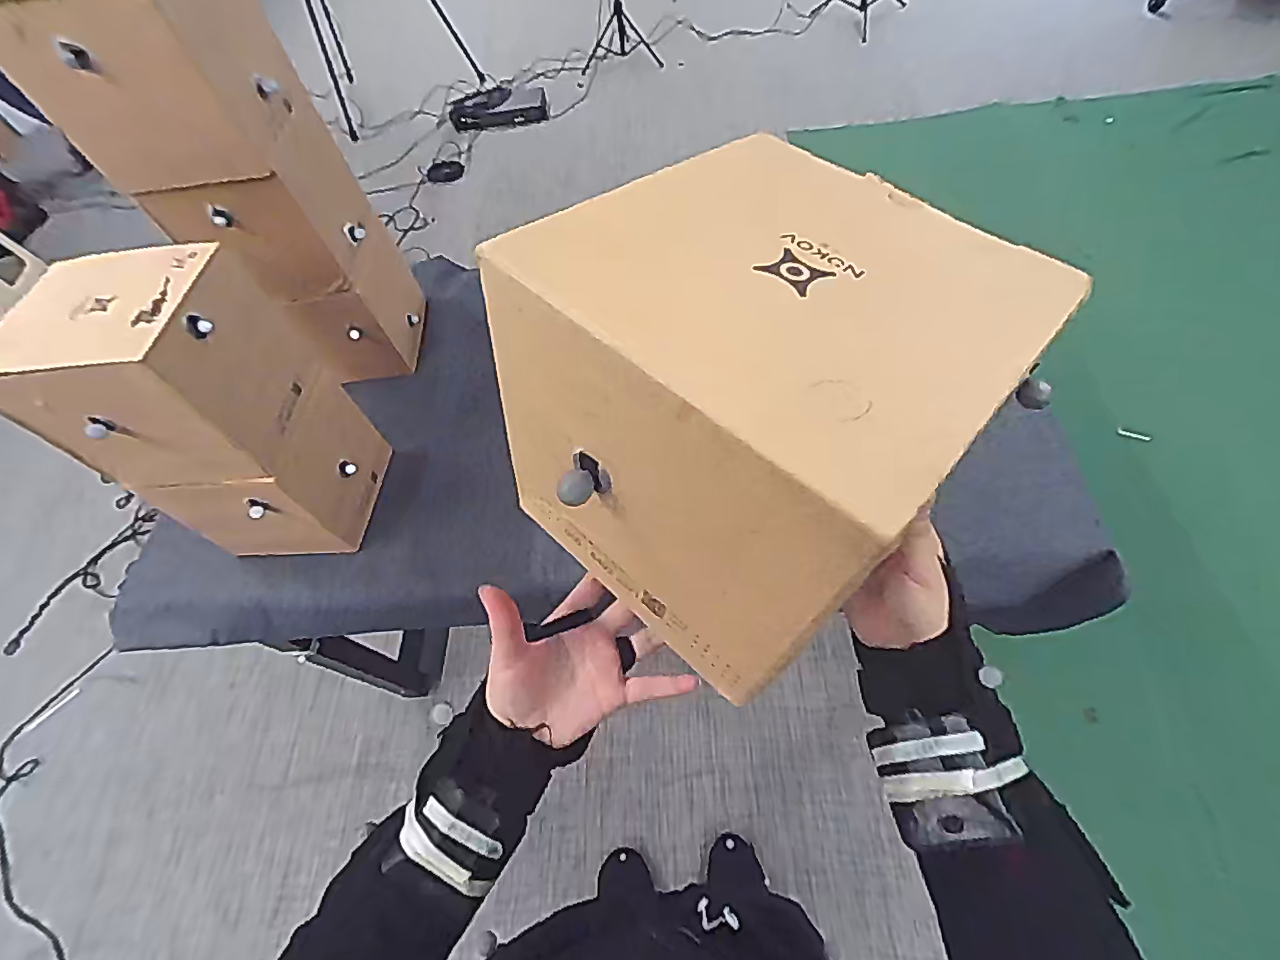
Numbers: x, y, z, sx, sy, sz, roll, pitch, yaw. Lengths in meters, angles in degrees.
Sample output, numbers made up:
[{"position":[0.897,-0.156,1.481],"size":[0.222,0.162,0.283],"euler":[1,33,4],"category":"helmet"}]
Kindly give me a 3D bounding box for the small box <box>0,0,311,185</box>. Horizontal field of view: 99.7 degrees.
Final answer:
[{"position":[-0.488,-0.431,0.555],"size":[0.179,0.176,0.168],"euler":[-5,61,3],"category":"small box"}]

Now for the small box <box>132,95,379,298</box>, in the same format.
[{"position":[-0.475,-0.357,0.701],"size":[0.179,0.176,0.168],"euler":[-6,61,2],"category":"small box"}]

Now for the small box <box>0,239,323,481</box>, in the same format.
[{"position":[-0.471,-0.112,0.548],"size":[0.179,0.176,0.168],"euler":[-6,57,4],"category":"small box"}]

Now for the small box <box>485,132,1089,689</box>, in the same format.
[{"position":[0.055,-0.032,0.265],"size":[0.168,0.176,0.179],"euler":[38,58,21],"category":"small box"}]

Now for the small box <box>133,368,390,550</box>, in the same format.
[{"position":[-0.450,-0.020,0.682],"size":[0.179,0.176,0.168],"euler":[-2,56,6],"category":"small box"}]
